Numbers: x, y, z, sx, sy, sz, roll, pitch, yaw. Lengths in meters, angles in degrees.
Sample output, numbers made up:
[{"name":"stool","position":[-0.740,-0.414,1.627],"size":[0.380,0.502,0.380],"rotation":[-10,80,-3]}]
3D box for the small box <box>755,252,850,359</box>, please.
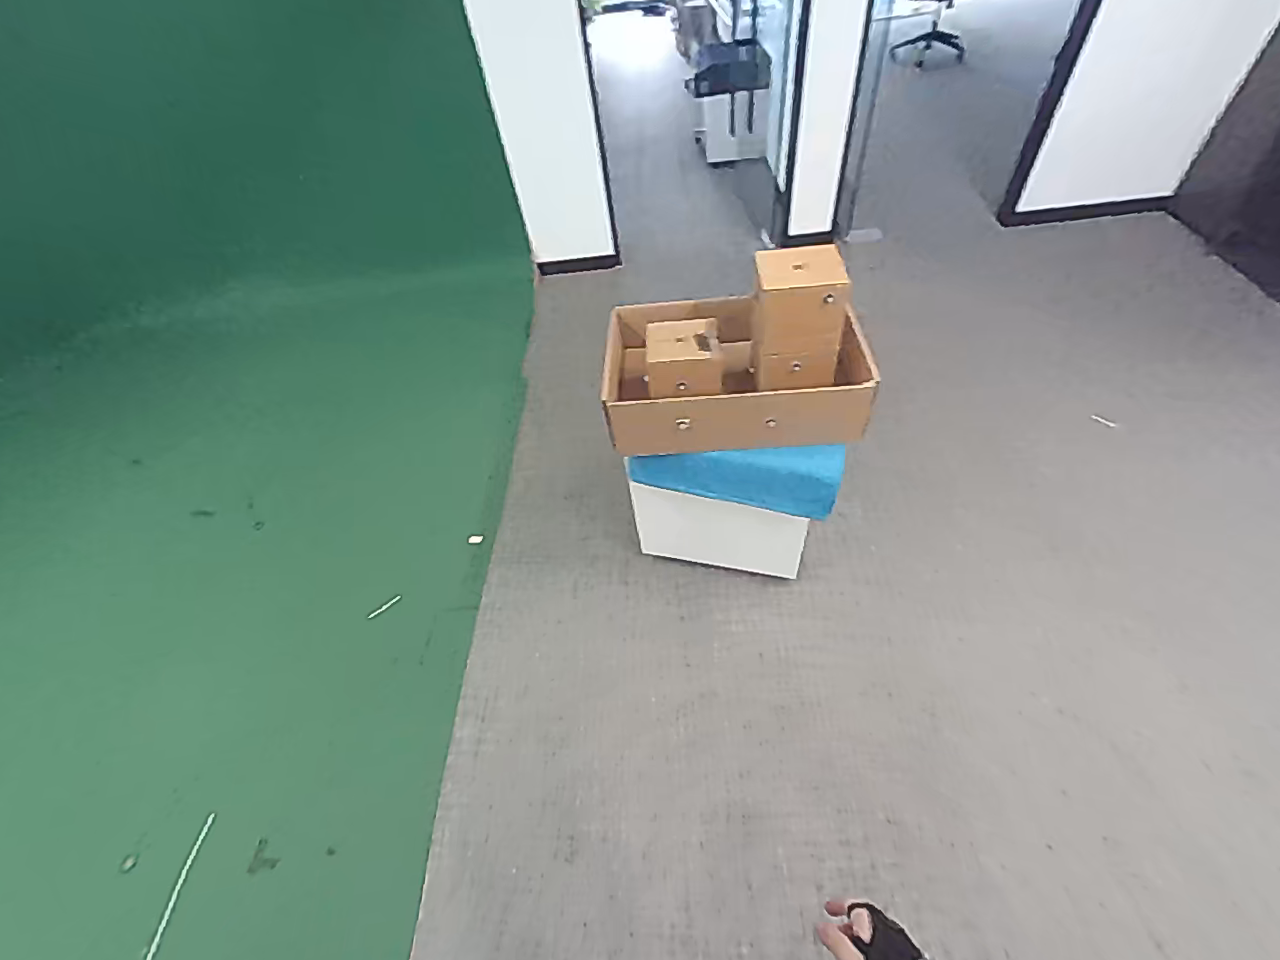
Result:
[{"name":"small box","position":[0.353,-0.385,1.210],"size":[0.179,0.176,0.168],"rotation":[-3,48,6]}]
